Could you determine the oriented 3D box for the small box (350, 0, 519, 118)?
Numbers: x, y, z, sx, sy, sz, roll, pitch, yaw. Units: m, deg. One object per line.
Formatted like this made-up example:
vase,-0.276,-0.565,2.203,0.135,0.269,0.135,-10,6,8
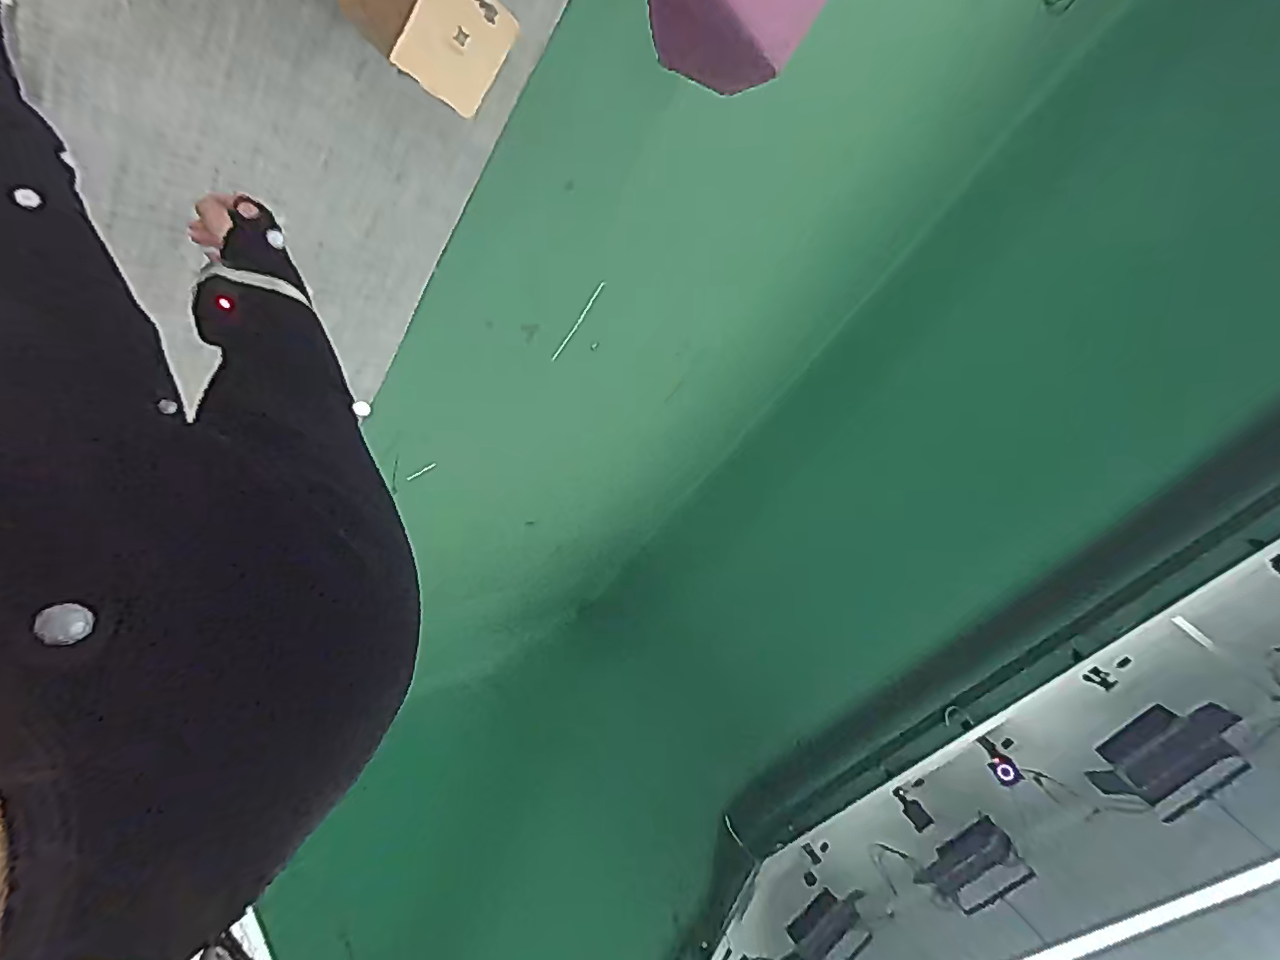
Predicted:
small box,-0.340,-0.756,0.882,0.179,0.176,0.168,-47,161,20
